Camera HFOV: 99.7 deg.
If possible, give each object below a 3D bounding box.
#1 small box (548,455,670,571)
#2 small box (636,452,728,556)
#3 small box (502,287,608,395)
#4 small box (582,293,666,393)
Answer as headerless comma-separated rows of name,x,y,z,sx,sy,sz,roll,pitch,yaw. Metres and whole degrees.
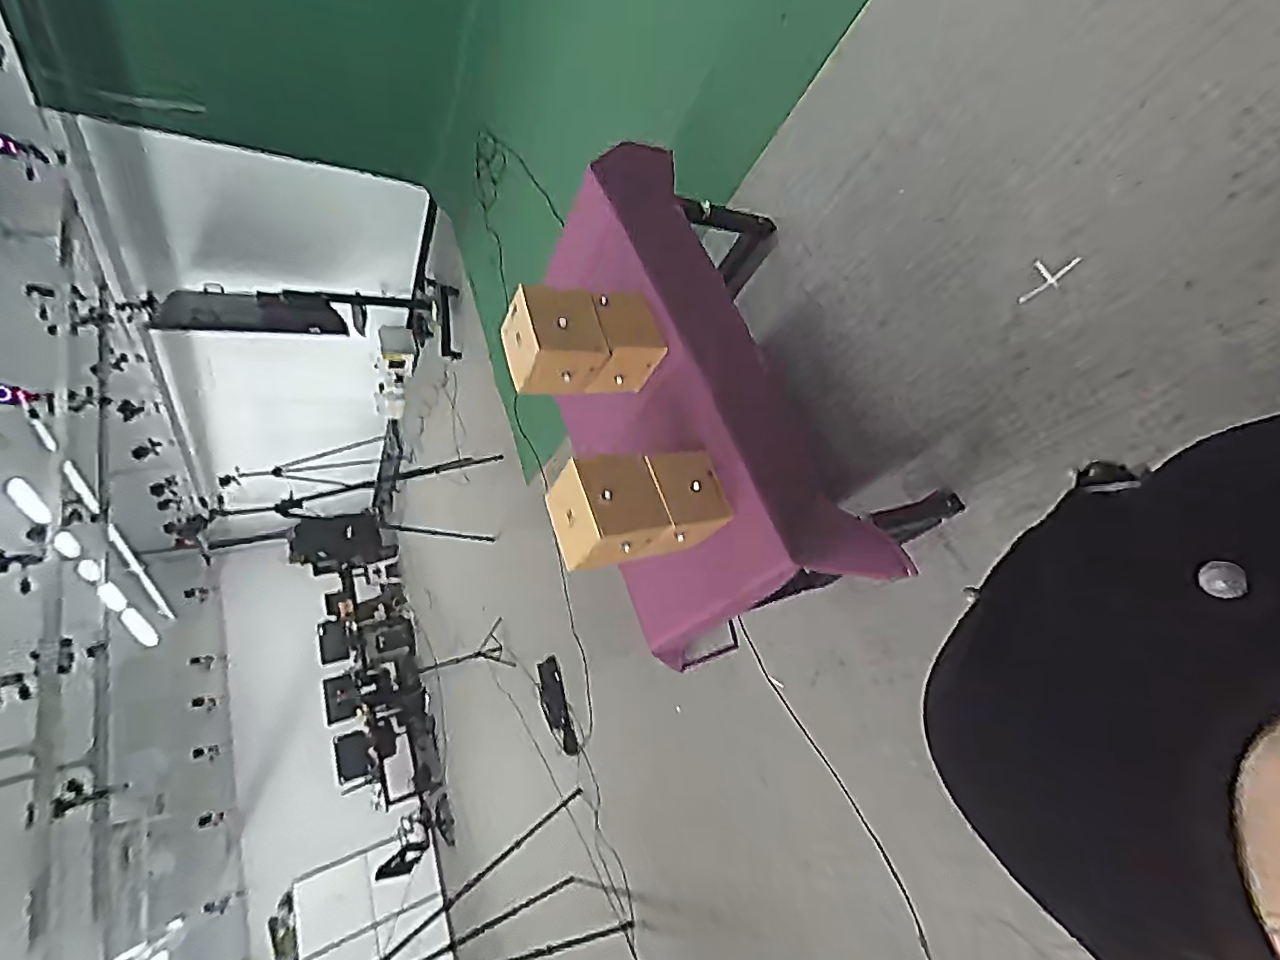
small box,-0.063,0.063,1.106,0.168,0.176,0.179,-47,58,48
small box,0.074,0.050,1.195,0.179,0.176,0.168,-46,58,50
small box,-0.193,-0.313,1.229,0.168,0.176,0.179,-41,63,51
small box,-0.061,-0.334,1.325,0.168,0.176,0.179,-48,57,49
